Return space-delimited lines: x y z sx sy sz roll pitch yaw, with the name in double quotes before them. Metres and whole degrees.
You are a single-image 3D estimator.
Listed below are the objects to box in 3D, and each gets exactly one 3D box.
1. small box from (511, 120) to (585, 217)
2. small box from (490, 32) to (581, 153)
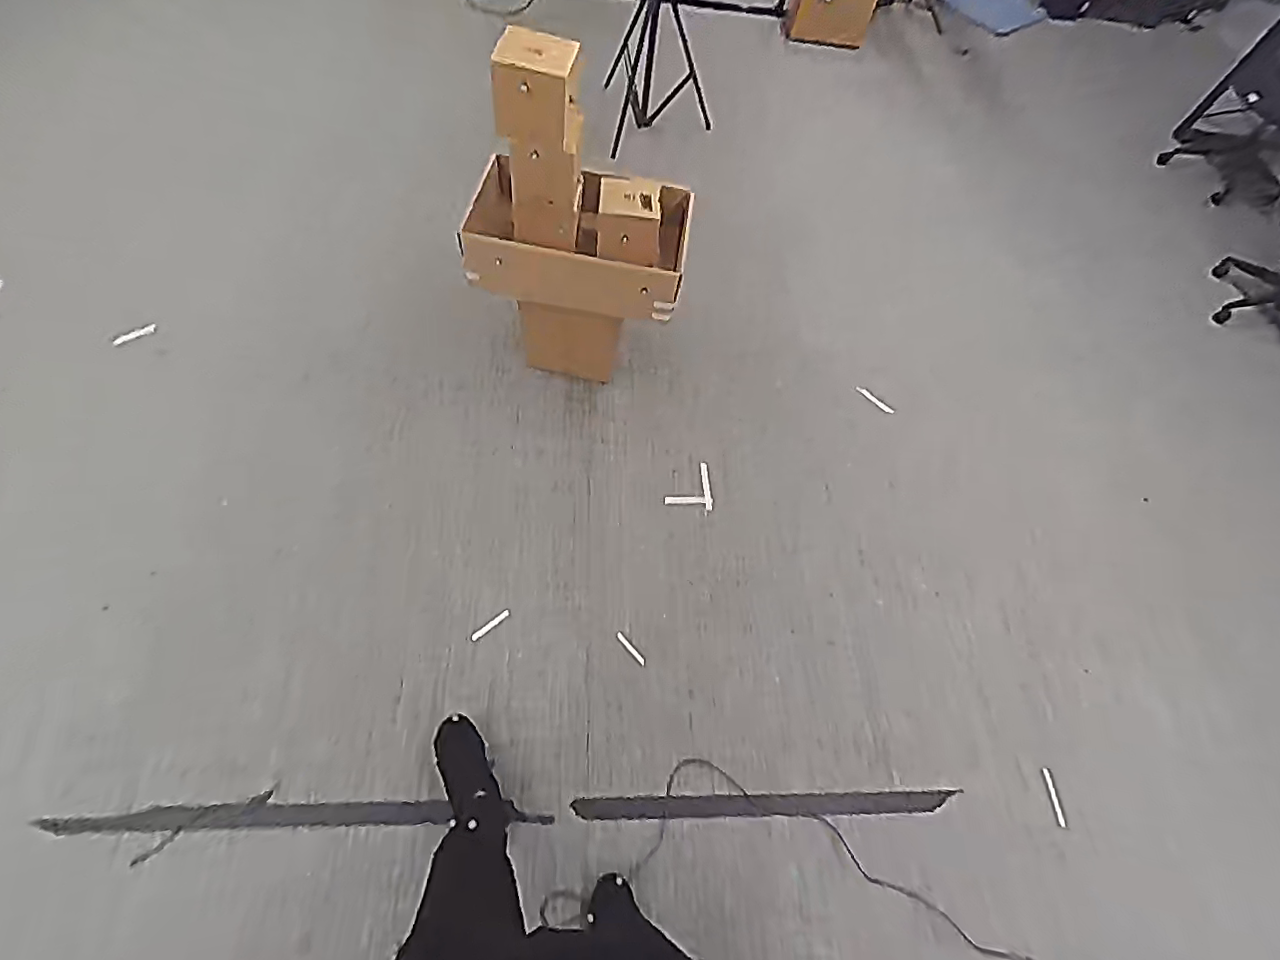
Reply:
"small box" -0.244 -0.844 1.447 0.168 0.176 0.179 8 60 -5
"small box" -0.246 -0.926 1.304 0.179 0.176 0.168 10 60 -3
